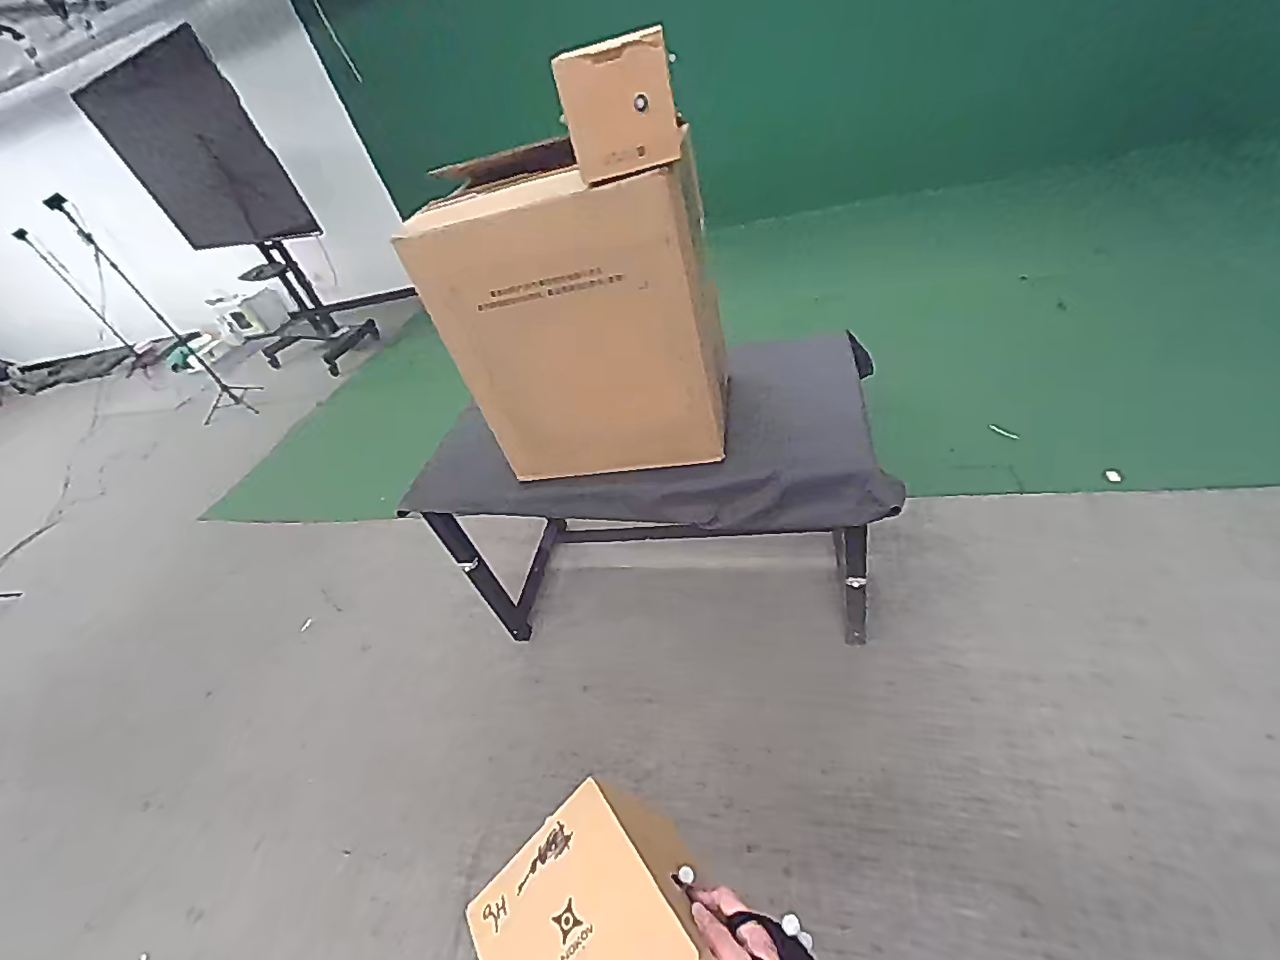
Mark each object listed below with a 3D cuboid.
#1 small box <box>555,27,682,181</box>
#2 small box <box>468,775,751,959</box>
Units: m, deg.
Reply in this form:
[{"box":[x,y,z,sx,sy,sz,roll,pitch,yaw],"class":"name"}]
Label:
[{"box":[-0.025,-0.610,0.885,0.168,0.176,0.179,-8,40,9],"class":"small box"},{"box":[-0.022,0.423,0.512,0.168,0.176,0.179,-44,45,-9],"class":"small box"}]
